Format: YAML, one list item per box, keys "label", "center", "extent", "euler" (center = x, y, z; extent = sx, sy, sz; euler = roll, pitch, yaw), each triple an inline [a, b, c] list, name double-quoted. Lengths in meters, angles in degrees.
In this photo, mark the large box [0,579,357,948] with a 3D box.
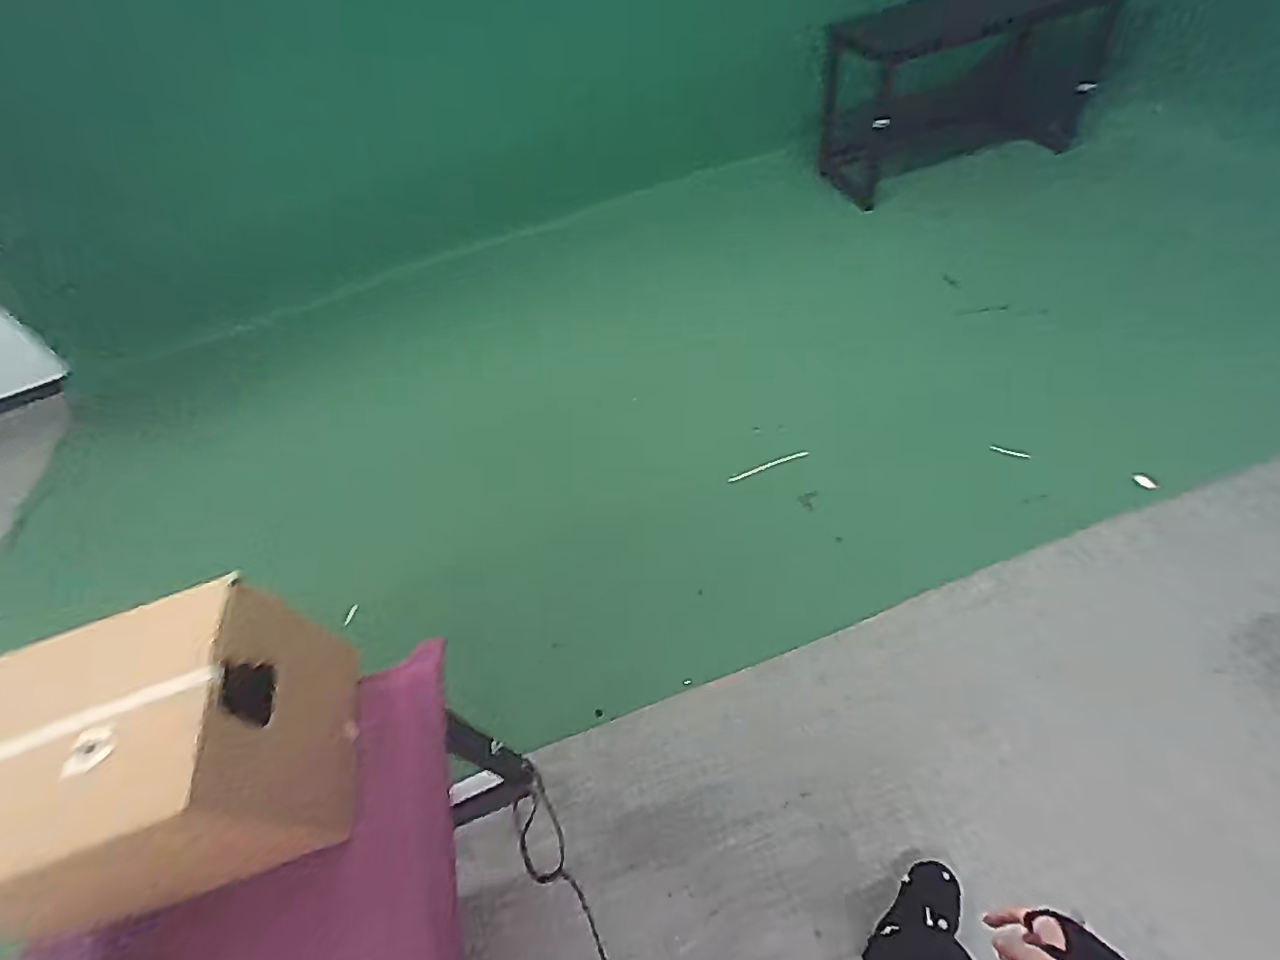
- label: "large box"
  center: [-0.691, 0.409, 0.781]
  extent: [0.408, 0.320, 0.320]
  euler: [-20, 52, -4]
